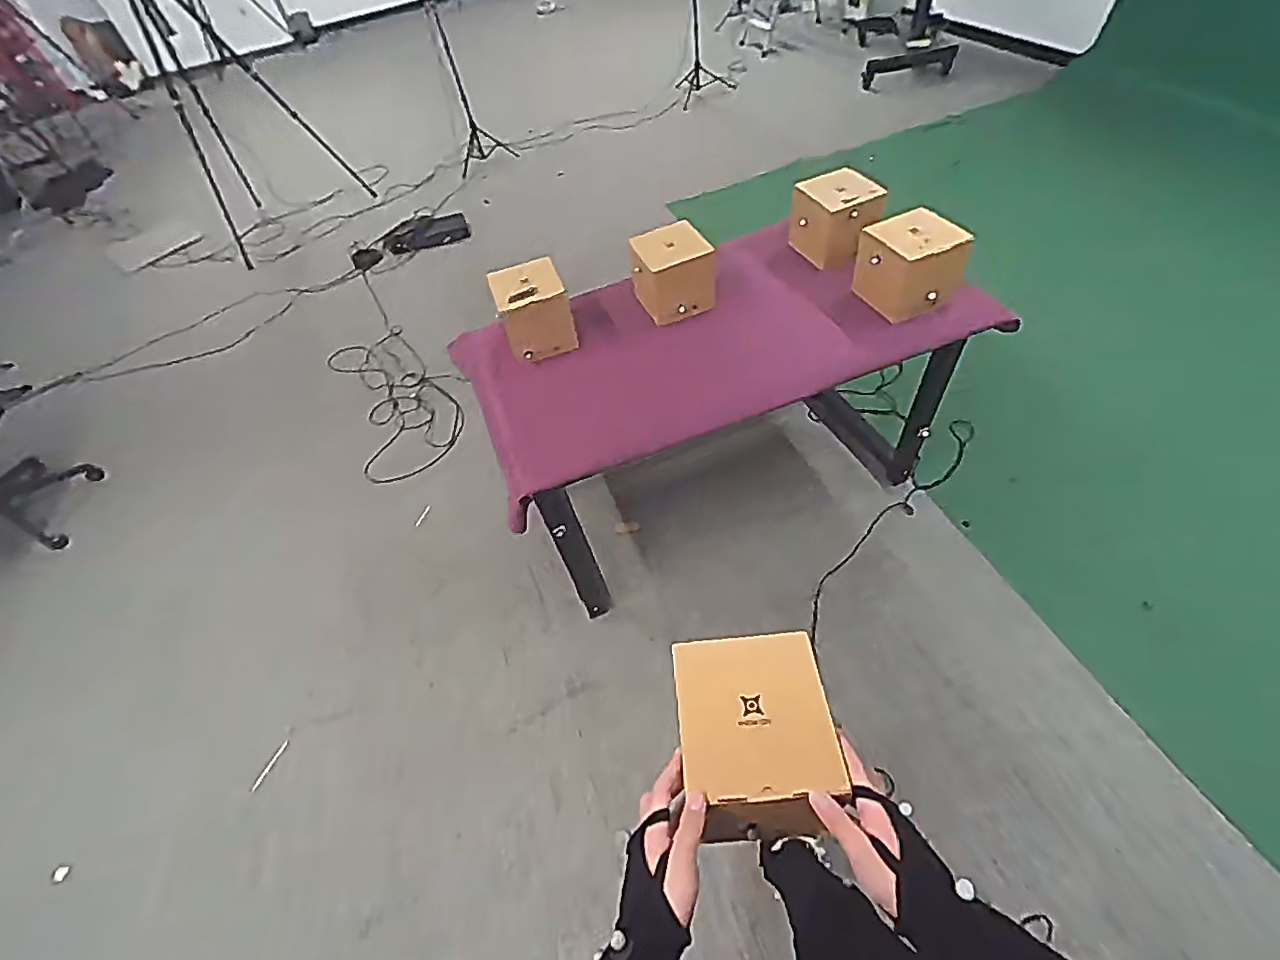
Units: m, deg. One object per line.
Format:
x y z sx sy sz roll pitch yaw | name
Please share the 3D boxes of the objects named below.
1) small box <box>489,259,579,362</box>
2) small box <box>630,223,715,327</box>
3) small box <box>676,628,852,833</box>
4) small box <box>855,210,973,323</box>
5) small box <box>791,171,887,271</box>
-0.266 -0.423 1.376 0.168 0.176 0.179 -19 53 -7 | small box
0.085 -0.529 1.405 0.168 0.176 0.179 -22 53 -7 | small box
0.133 0.302 0.652 0.168 0.176 0.179 -6 47 2 | small box
0.638 -0.506 1.287 0.168 0.176 0.179 -22 52 -5 | small box
0.525 -0.694 1.456 0.168 0.176 0.179 -23 52 -7 | small box
